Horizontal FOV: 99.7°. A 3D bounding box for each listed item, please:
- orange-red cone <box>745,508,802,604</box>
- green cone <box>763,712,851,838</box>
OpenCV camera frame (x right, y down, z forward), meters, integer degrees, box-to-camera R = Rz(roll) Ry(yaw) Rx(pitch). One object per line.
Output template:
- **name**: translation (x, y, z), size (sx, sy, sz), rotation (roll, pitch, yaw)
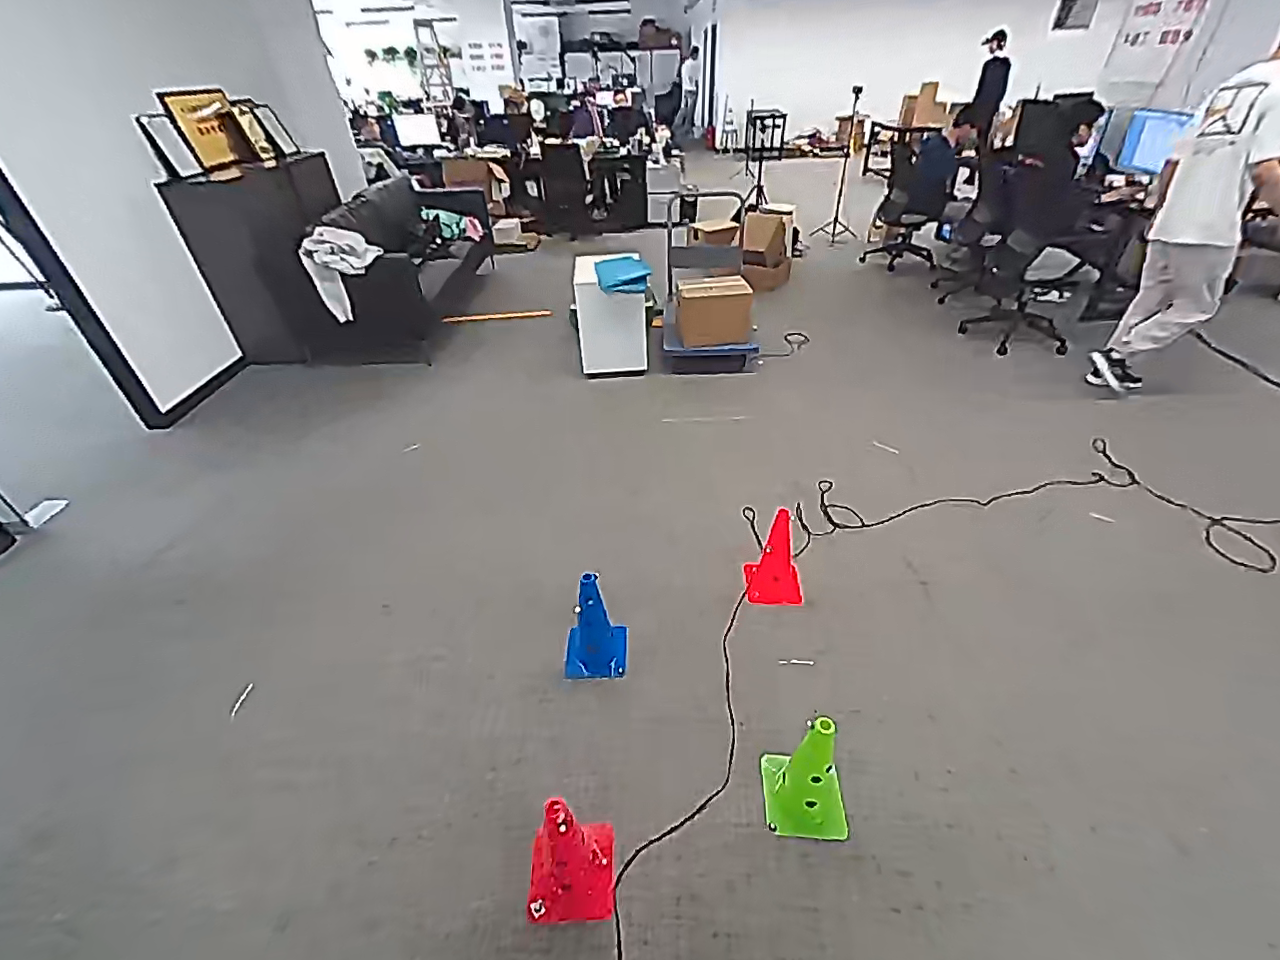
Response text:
- **orange-red cone**: translation (0.482, 0.246, 1.895), size (0.198, 0.360, 0.199), rotation (1, 39, 6)
- **green cone**: translation (0.427, 0.685, 1.313), size (0.200, 0.368, 0.202), rotation (1, 36, 4)
